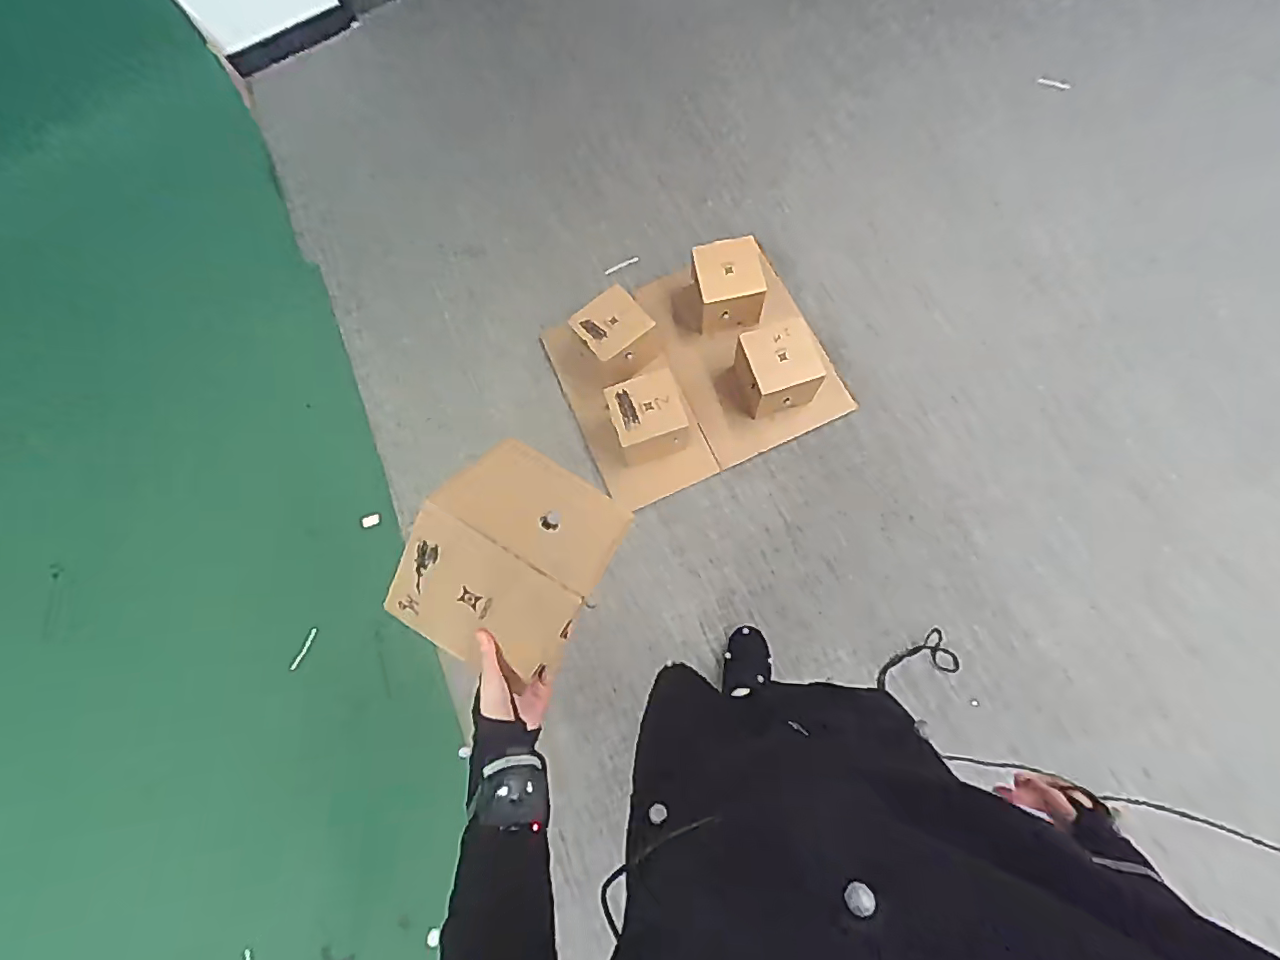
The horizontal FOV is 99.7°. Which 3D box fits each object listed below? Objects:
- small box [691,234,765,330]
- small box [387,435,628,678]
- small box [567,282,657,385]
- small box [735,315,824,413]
[{"bbox_3d":[0.237,-0.527,1.473,0.168,0.176,0.179,-11,73,3],"label":"small box"},{"bbox_3d":[-0.136,0.074,0.603,0.179,0.176,0.168,33,118,0],"label":"small box"},{"bbox_3d":[-0.067,-0.389,1.469,0.179,0.176,0.168,-38,75,-6],"label":"small box"},{"bbox_3d":[0.352,-0.288,1.395,0.168,0.176,0.179,-17,74,0],"label":"small box"}]
